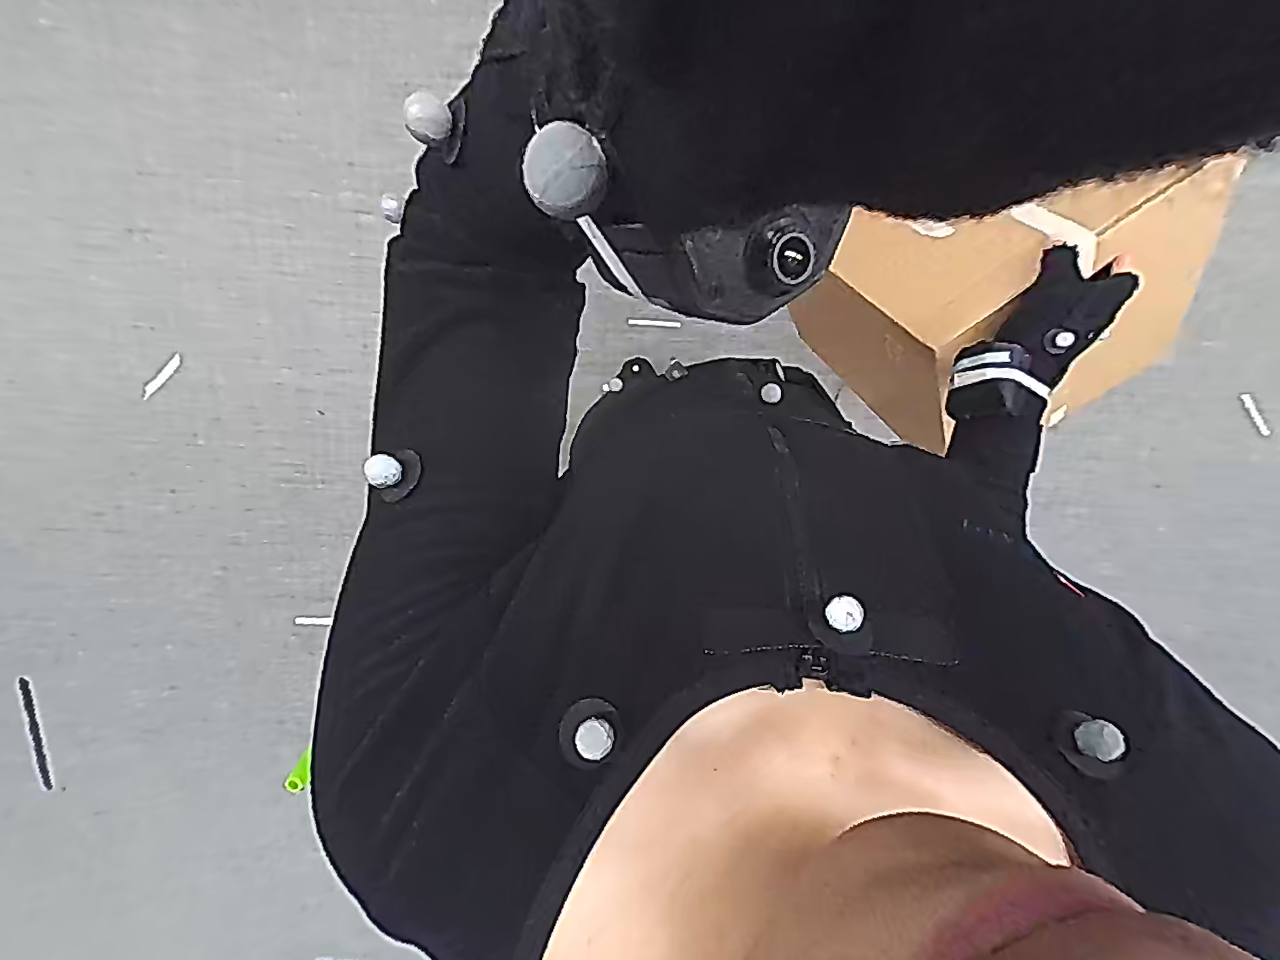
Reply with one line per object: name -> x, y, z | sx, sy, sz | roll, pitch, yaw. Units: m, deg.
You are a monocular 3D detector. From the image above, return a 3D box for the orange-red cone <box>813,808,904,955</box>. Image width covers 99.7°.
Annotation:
orange-red cone -> 0.646, 1.151, 1.537 | 0.198, 0.360, 0.199 | 0, 100, 0

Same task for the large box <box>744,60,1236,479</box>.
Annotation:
large box -> 0.410, -0.282, 0.744 | 0.320, 0.408, 0.320 | -36, 141, 10
